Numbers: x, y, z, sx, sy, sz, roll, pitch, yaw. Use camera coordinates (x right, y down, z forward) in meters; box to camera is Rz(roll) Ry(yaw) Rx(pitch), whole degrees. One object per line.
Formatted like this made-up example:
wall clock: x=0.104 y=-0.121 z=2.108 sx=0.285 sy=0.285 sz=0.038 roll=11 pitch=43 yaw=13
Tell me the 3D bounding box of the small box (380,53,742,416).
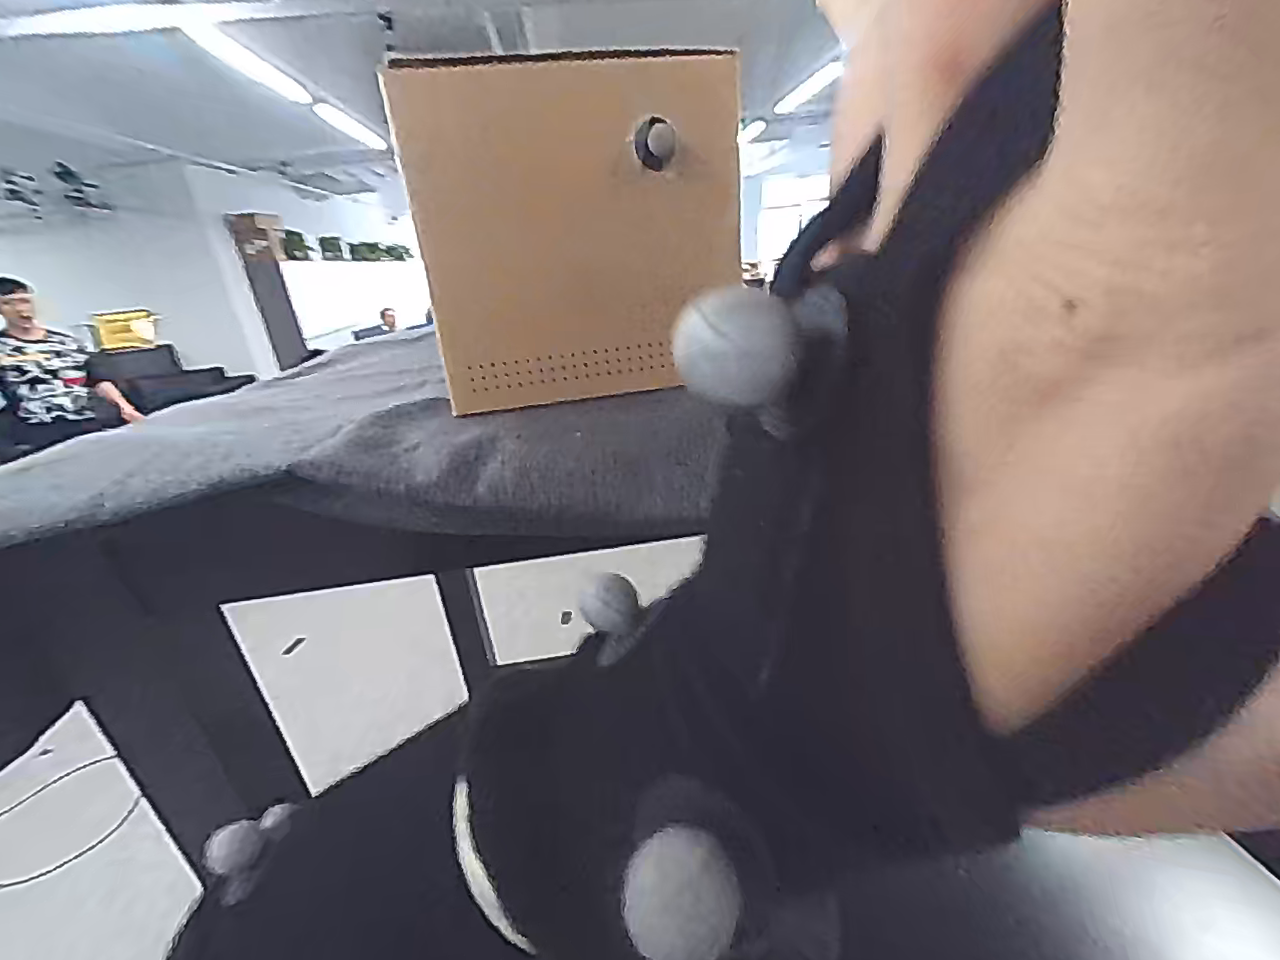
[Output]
small box: x=-0.041 y=-0.150 z=0.360 sx=0.179 sy=0.176 sz=0.168 roll=-10 pitch=21 yaw=-8
